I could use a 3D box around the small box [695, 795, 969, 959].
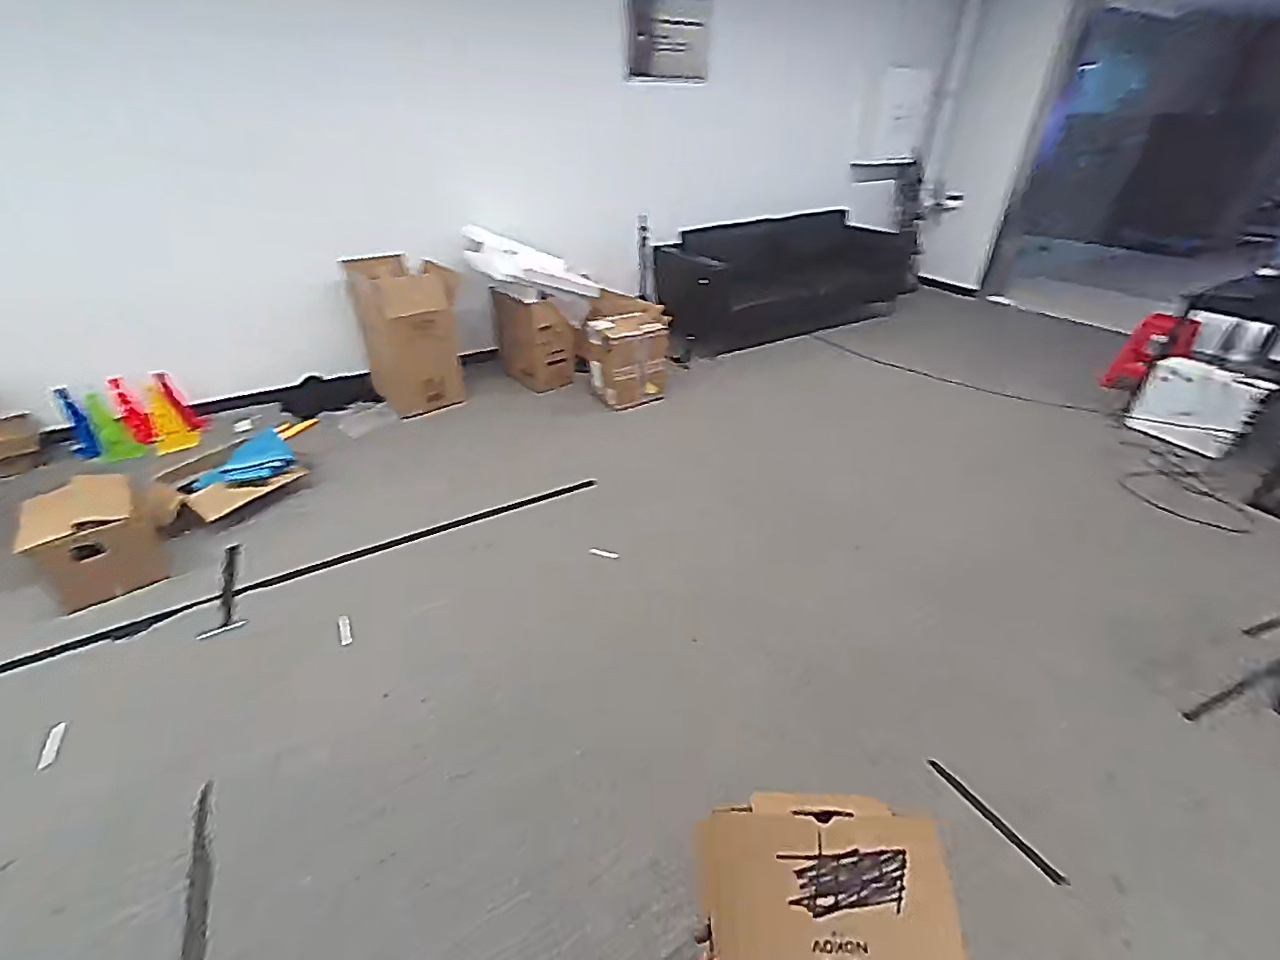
[{"bbox_3d":[0.131,0.355,0.414,0.168,0.176,0.179,0,54,2],"label":"small box"}]
